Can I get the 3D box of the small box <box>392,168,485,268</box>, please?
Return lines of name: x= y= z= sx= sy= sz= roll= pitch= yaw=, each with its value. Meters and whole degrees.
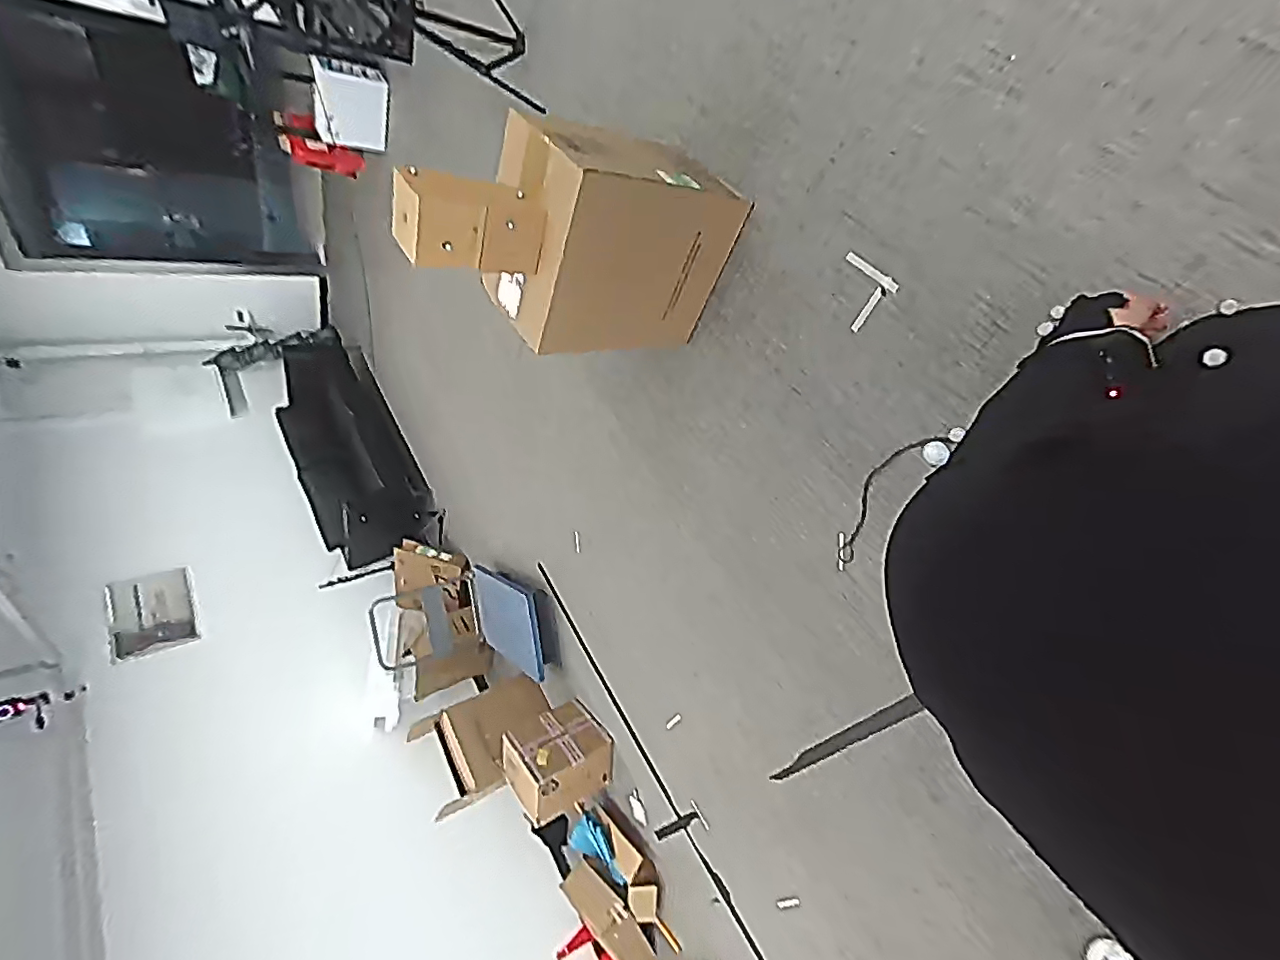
small box: x=-0.498 y=-0.642 z=1.335 sx=0.179 sy=0.176 sz=0.168 roll=52 pitch=137 yaw=29
